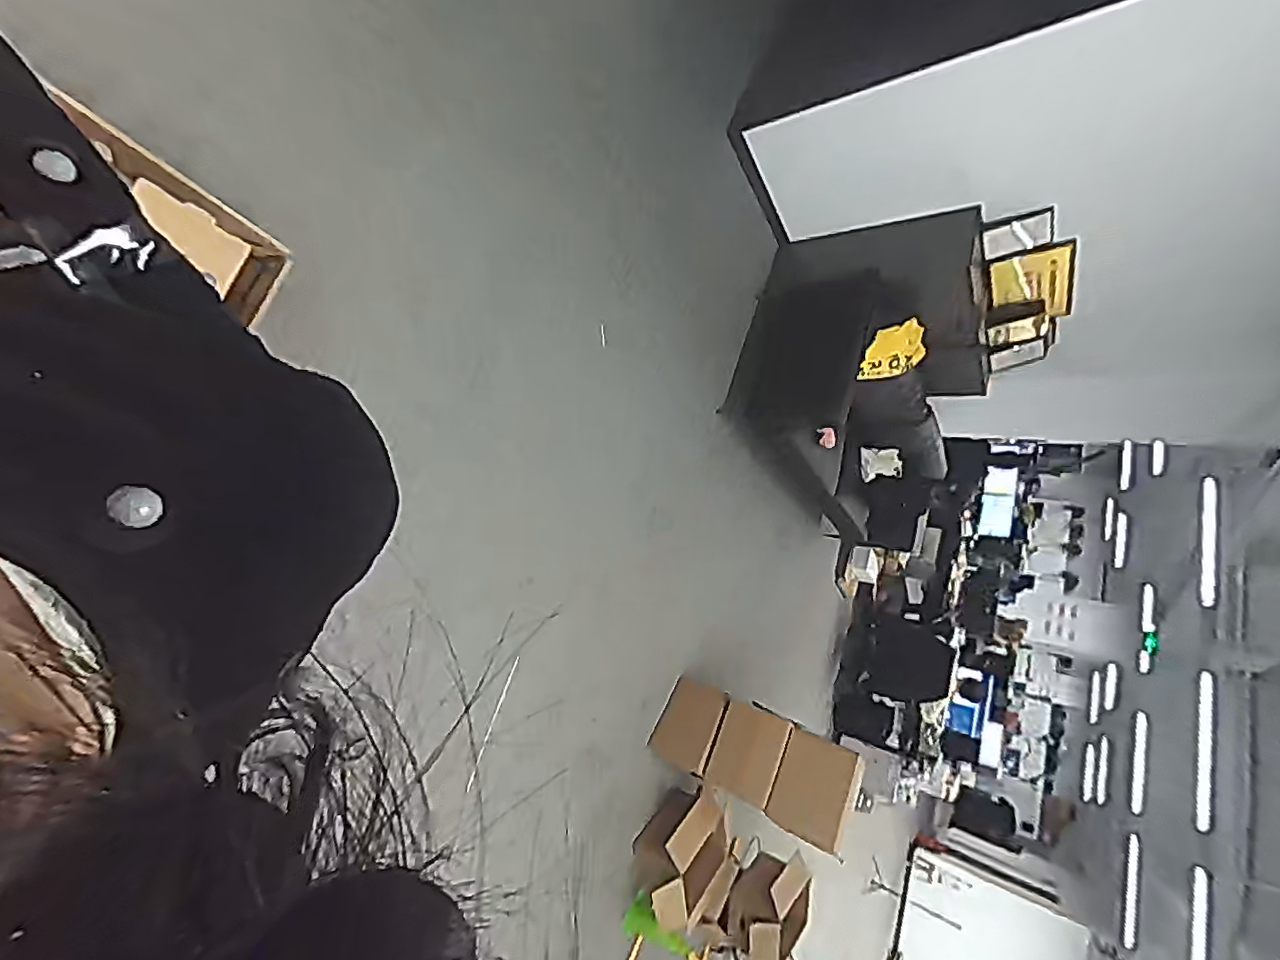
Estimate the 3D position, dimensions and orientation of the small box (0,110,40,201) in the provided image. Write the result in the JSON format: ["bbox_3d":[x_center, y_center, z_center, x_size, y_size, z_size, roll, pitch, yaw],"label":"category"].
[{"bbox_3d":[-1.102,-0.521,0.835,0.179,0.176,0.168,33,70,-52],"label":"small box"}]

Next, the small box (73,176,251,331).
[{"bbox_3d":[-0.831,-0.381,0.940,0.168,0.176,0.179,35,68,-48],"label":"small box"}]

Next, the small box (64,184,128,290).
[{"bbox_3d":[-0.955,-0.422,1.041,0.179,0.176,0.168,29,74,-50],"label":"small box"}]
